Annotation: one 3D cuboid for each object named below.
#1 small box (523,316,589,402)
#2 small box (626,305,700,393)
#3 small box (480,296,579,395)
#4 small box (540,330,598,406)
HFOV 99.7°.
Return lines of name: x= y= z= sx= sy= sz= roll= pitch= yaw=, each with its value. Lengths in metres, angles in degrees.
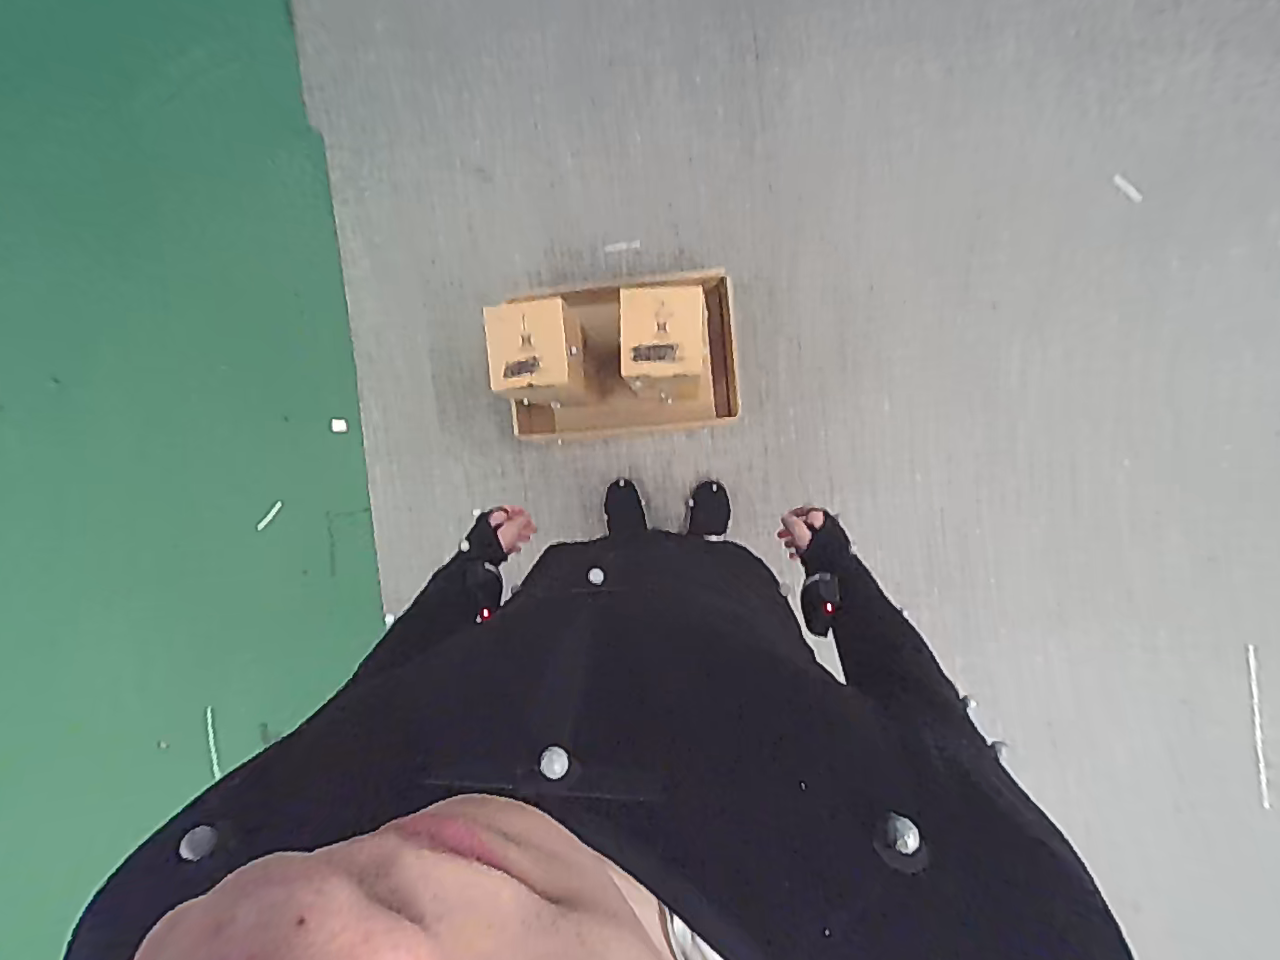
small box: x=-0.220 y=-0.293 z=1.334 sx=0.168 sy=0.176 sz=0.179 roll=-3 pitch=93 yaw=3
small box: x=0.056 y=-0.313 z=1.316 sx=0.168 sy=0.176 sz=0.179 roll=-3 pitch=94 yaw=4
small box: x=-0.230 y=-0.281 z=1.170 sx=0.168 sy=0.176 sz=0.179 roll=-5 pitch=92 yaw=3
small box: x=-0.210 y=-0.304 z=1.496 sx=0.168 sy=0.176 sz=0.179 roll=-3 pitch=92 yaw=4
